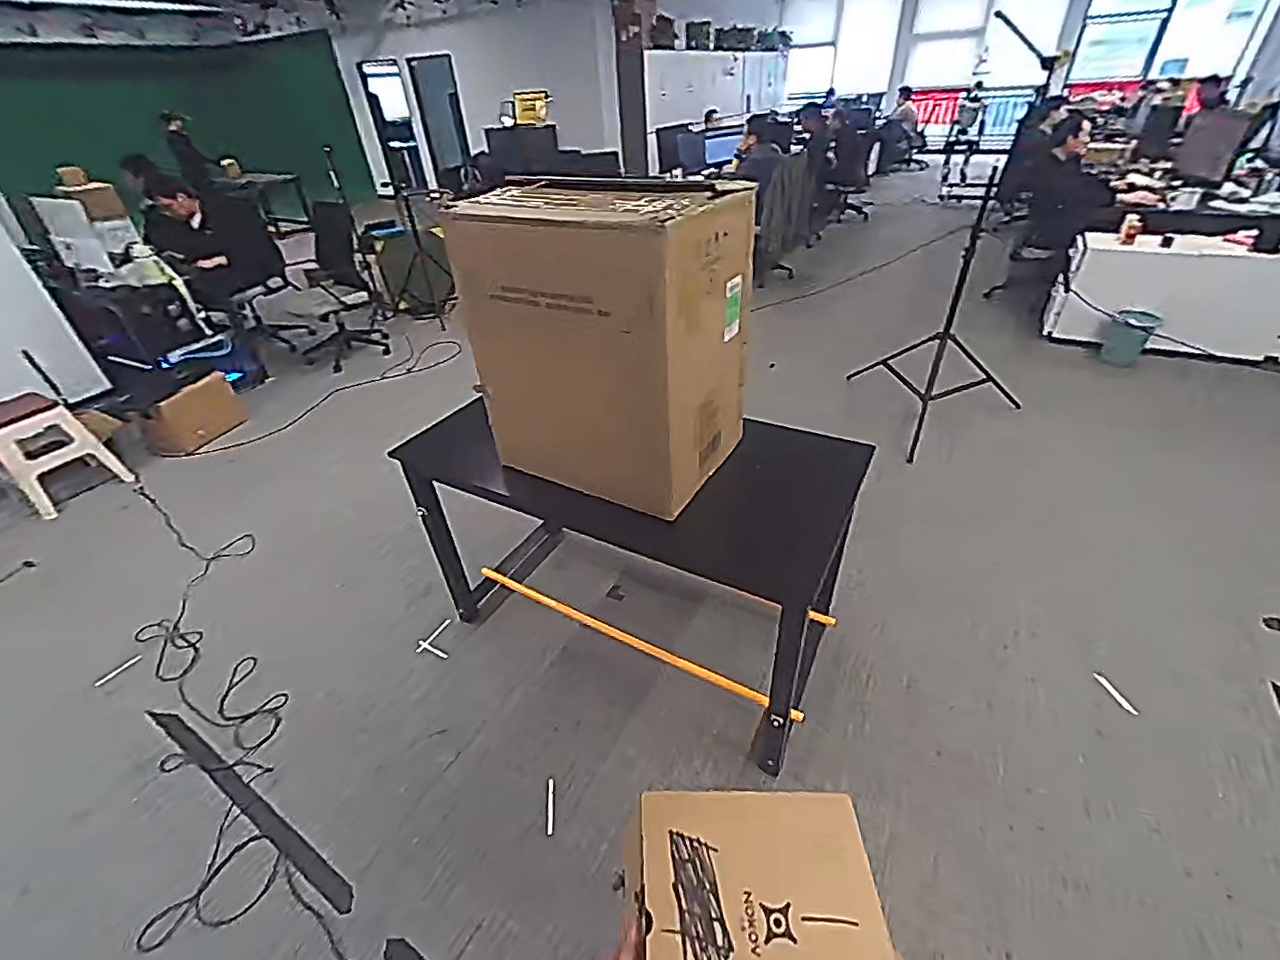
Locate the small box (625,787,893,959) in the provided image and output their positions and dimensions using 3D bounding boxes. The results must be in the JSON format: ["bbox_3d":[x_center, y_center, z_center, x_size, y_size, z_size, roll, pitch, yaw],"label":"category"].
[{"bbox_3d":[0.077,0.363,0.428,0.179,0.176,0.168,3,42,-5],"label":"small box"}]
